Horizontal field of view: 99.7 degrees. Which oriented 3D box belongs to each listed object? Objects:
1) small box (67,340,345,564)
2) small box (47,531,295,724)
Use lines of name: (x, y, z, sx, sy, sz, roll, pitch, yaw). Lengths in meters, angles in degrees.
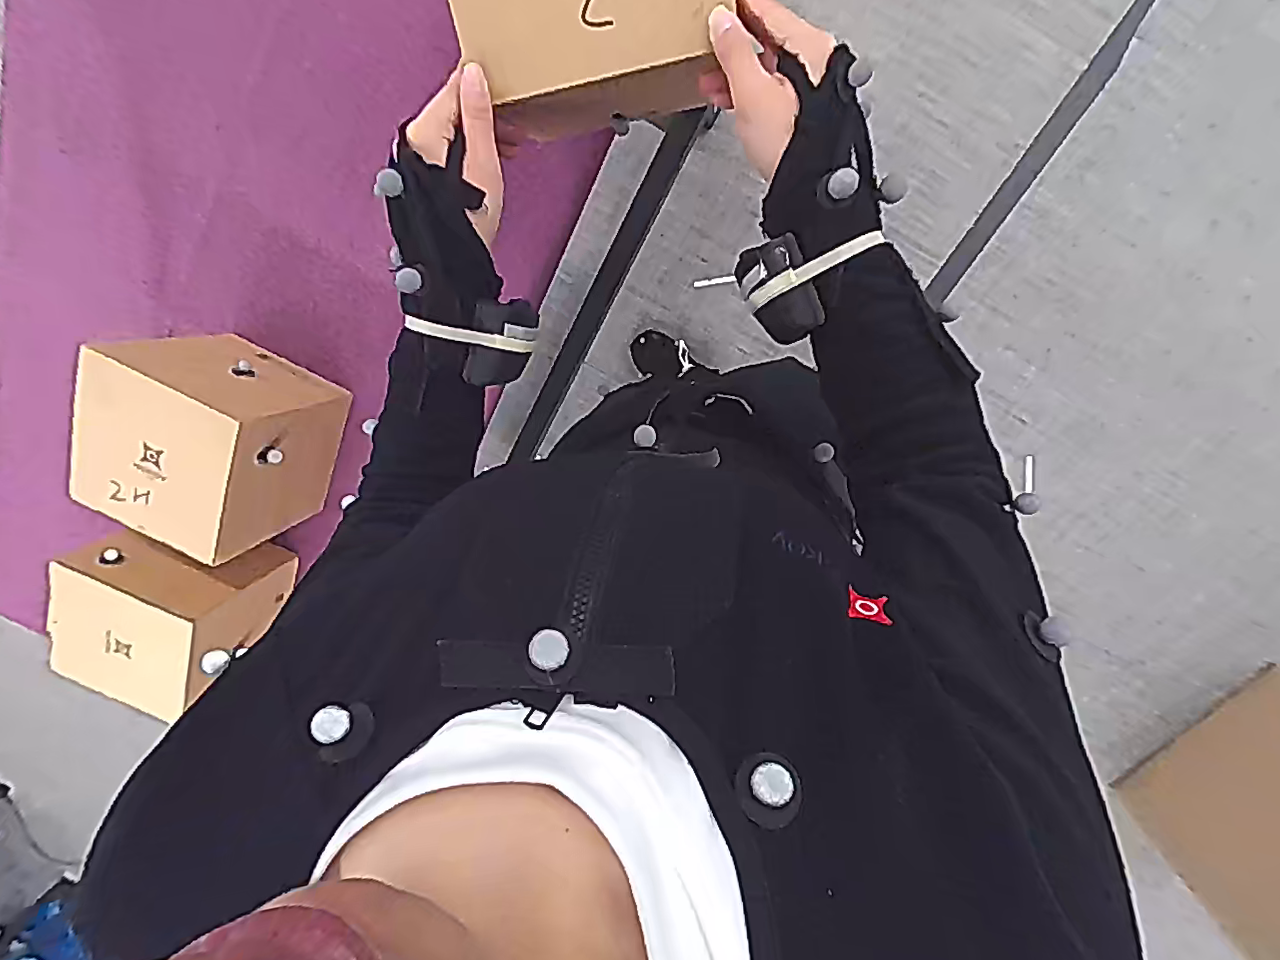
small box: (-0.466, -0.044, 0.603, 0.168, 0.176, 0.179, 26, 109, 0)
small box: (-0.585, 0.164, 0.692, 0.179, 0.176, 0.168, 24, 110, 1)
